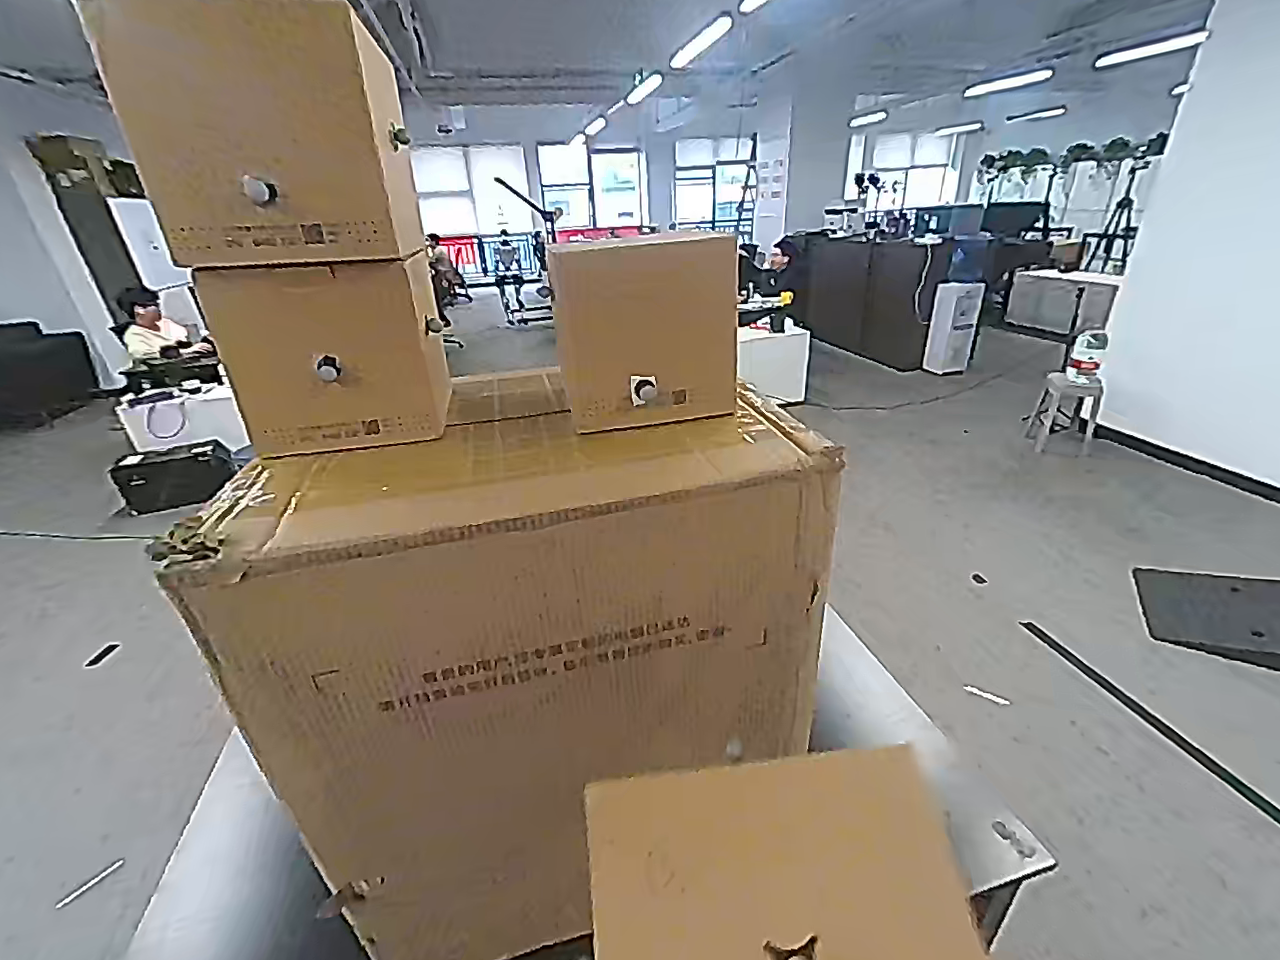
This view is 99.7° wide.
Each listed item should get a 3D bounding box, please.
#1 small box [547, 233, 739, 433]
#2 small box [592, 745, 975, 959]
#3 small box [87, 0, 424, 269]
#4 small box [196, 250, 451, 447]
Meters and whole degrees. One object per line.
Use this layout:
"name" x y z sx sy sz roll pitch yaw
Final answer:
"small box" -0.003 -0.163 0.576 0.168 0.176 0.179 -10 28 -8
"small box" 0.065 0.262 0.296 0.168 0.176 0.179 -7 58 -4
"small box" -0.295 -0.280 0.470 0.168 0.176 0.179 -8 27 -11
"small box" -0.297 -0.138 0.558 0.168 0.176 0.179 -8 27 -12
